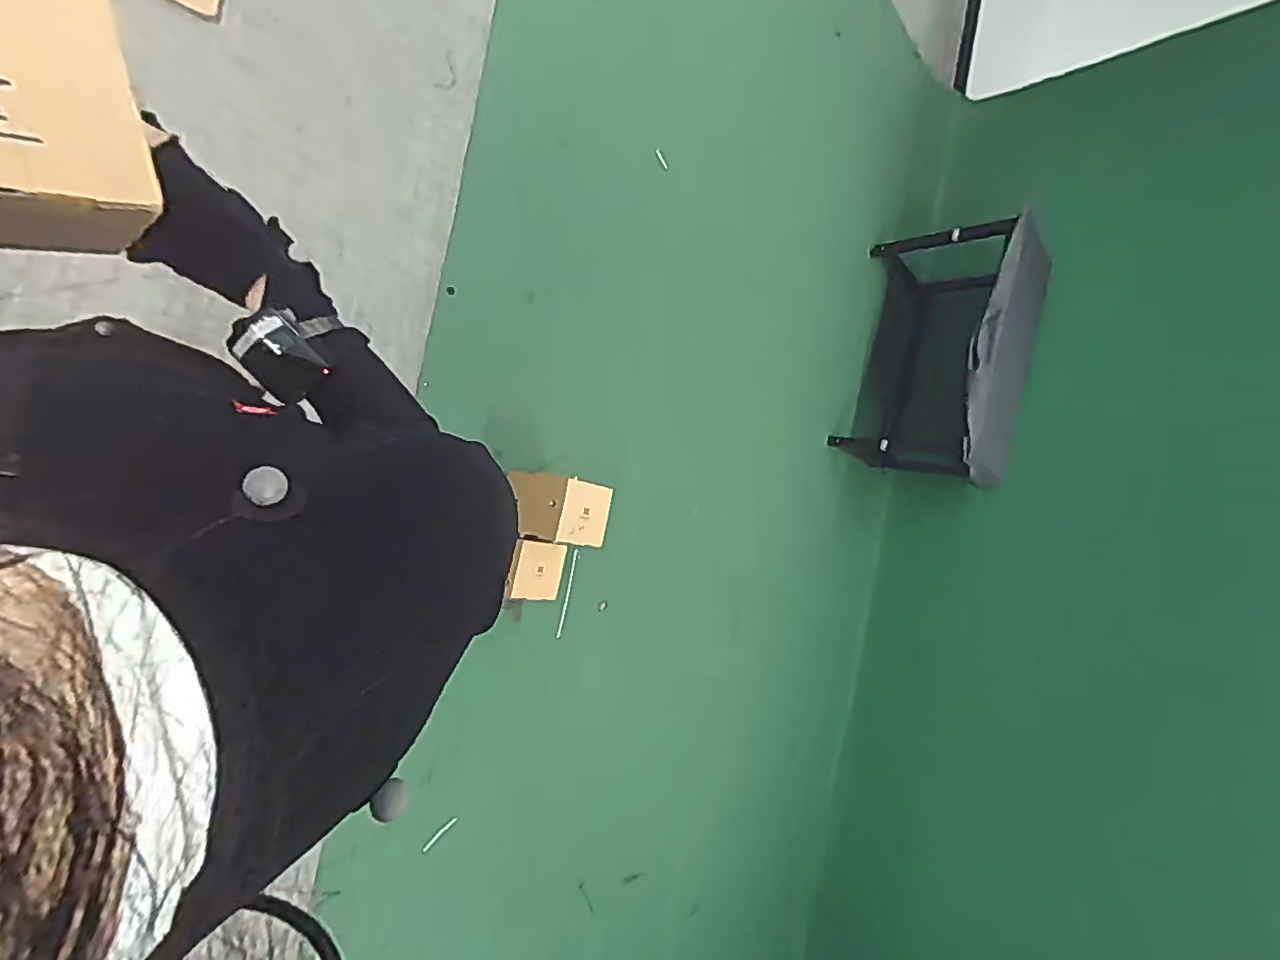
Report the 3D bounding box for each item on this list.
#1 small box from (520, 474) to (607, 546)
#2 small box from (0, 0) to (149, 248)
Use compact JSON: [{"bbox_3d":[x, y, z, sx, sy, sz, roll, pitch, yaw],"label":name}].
[{"bbox_3d":[-0.225,0.084,1.566,0.168,0.176,0.179,16,85,-43],"label":"small box"},{"bbox_3d":[-0.415,-0.236,0.298,0.168,0.176,0.179,-22,112,-48],"label":"small box"}]
